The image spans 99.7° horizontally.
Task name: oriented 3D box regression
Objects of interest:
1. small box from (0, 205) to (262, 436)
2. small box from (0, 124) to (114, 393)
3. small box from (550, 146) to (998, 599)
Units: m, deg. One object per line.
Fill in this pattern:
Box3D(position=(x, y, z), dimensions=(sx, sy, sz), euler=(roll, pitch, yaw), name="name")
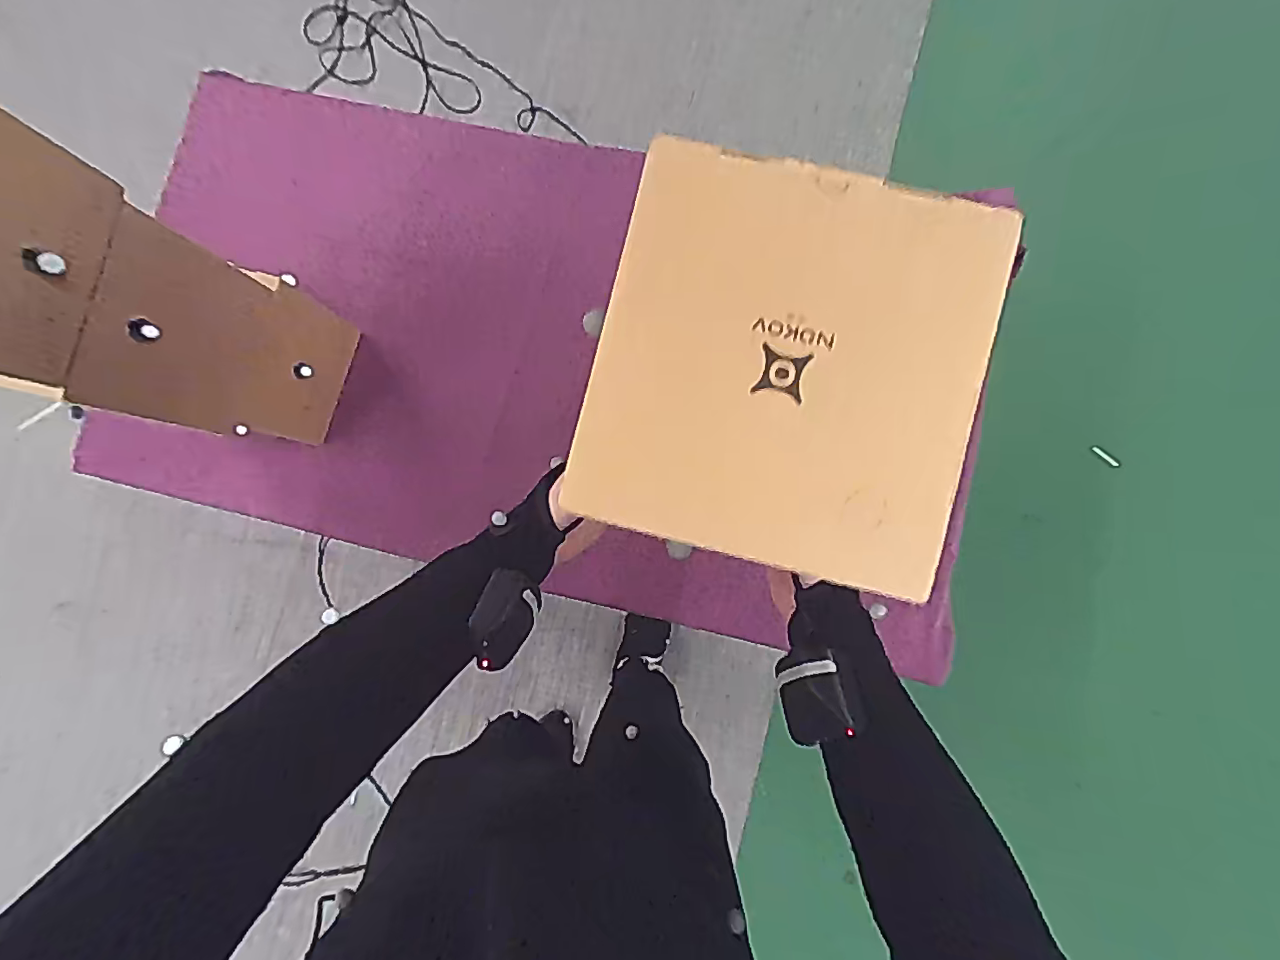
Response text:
Box3D(position=(-0.518, -0.152, 0.528), dimensions=(0.168, 0.176, 0.179), euler=(13, 85, 4), name="small box")
Box3D(position=(-0.525, -0.176, 0.366), dimensions=(0.168, 0.176, 0.179), euler=(12, 85, 4), name="small box")
Box3D(position=(0.063, -0.047, 0.320), dimensions=(0.168, 0.176, 0.179), euler=(14, 87, 4), name="small box")
